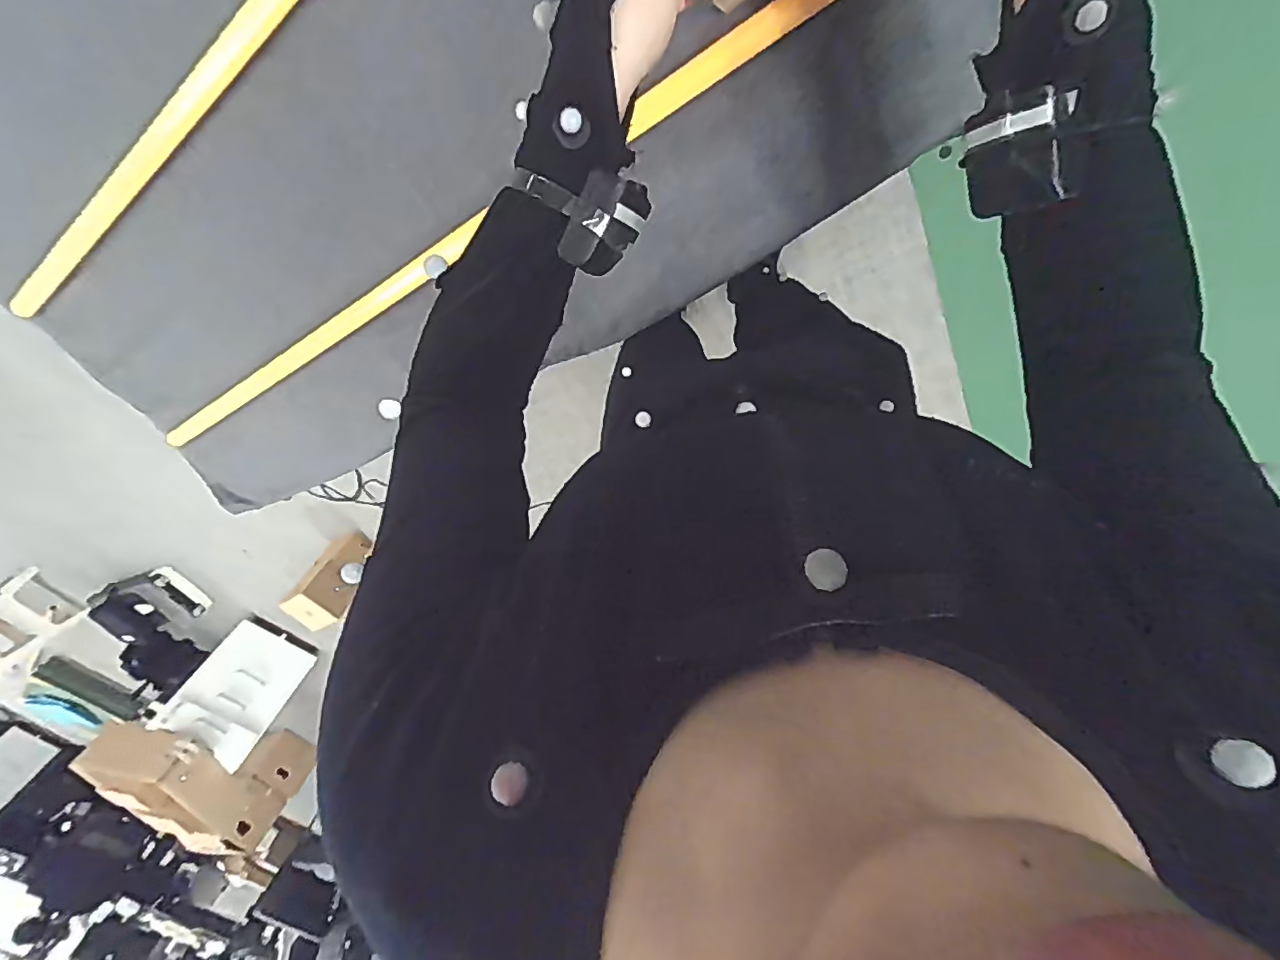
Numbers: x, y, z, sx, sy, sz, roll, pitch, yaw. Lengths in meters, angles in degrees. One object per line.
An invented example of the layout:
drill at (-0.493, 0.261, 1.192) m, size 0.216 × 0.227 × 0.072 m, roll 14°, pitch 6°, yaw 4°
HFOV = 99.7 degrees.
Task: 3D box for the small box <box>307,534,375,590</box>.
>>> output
small box at (-1.176, 0.340, 2.157) m, size 0.179 × 0.176 × 0.168 m, roll -23°, pitch 121°, yaw 27°

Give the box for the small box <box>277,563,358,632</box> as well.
small box at (-1.199, 0.436, 2.025) m, size 0.179 × 0.176 × 0.168 m, roll -24°, pitch 120°, yaw 28°
